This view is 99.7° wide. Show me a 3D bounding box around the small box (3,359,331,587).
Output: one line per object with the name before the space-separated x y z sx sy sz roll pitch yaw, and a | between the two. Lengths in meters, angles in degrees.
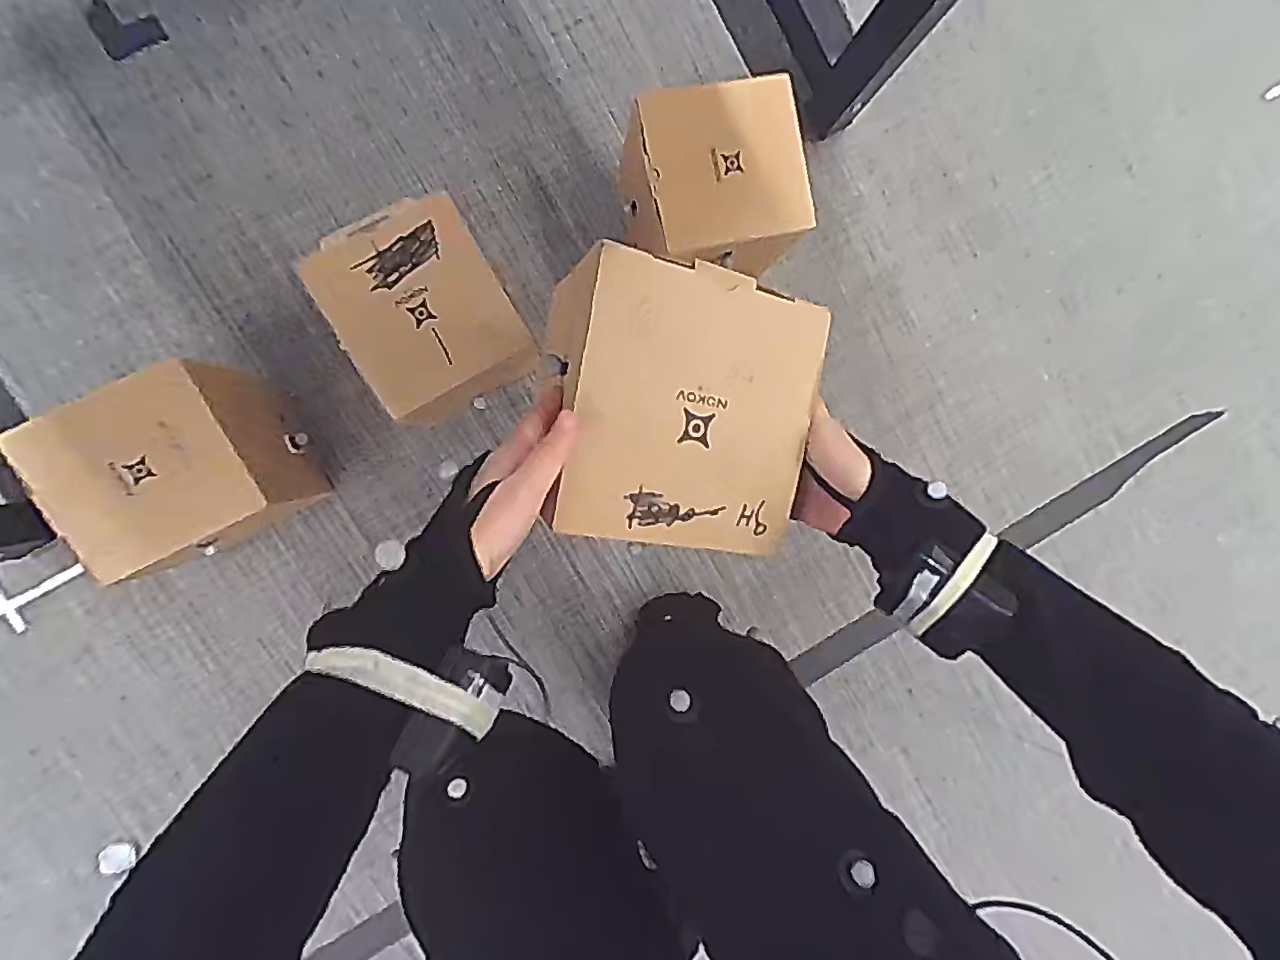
small box | -0.487 -0.010 0.593 0.179 0.176 0.168 -28 98 -7

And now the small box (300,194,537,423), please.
small box | -0.232 -0.177 0.619 0.168 0.176 0.179 -31 98 -5

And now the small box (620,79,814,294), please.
small box | 0.082 -0.340 0.656 0.179 0.176 0.168 -13 96 -7
